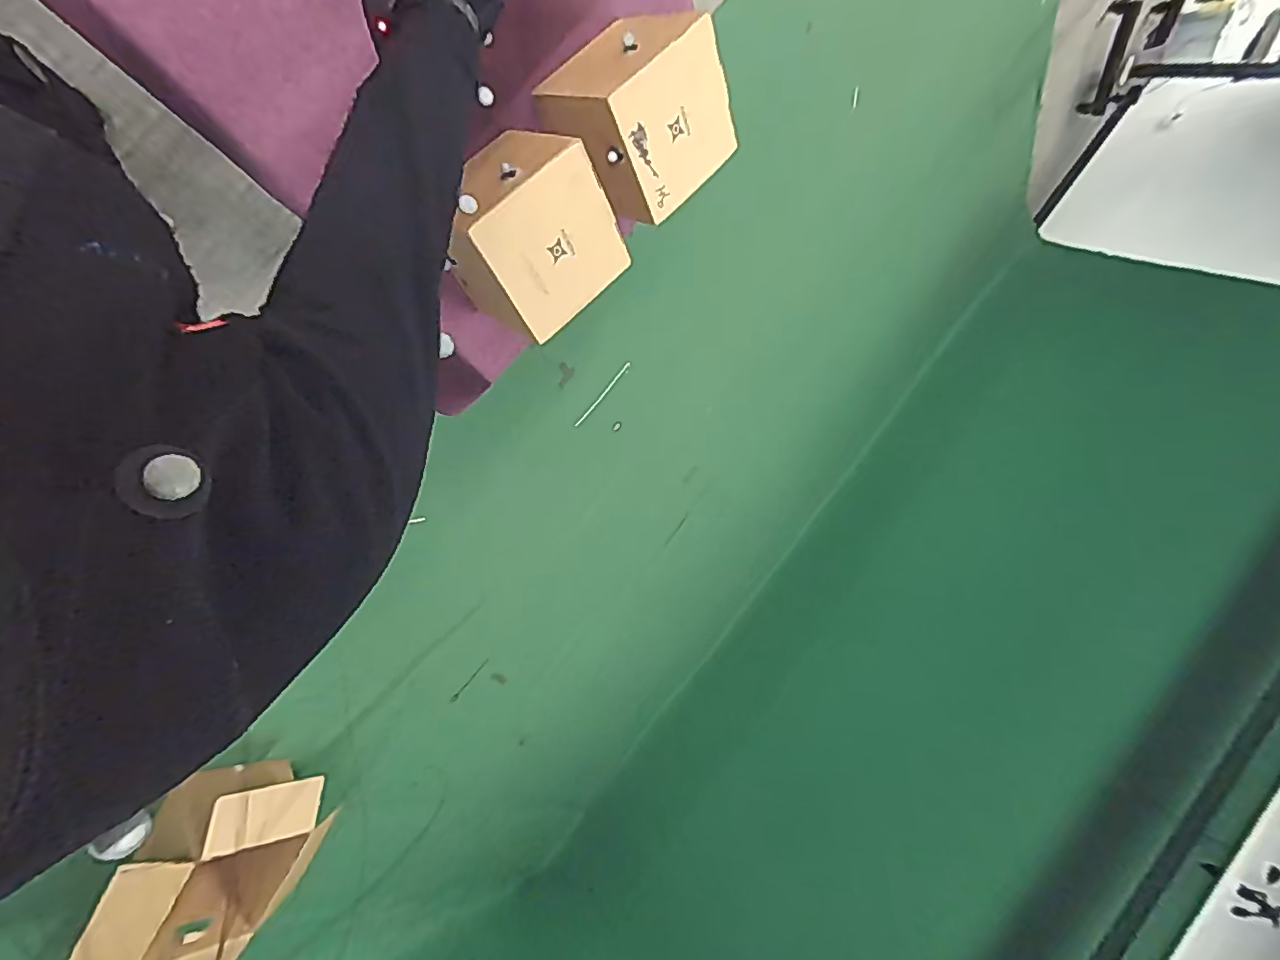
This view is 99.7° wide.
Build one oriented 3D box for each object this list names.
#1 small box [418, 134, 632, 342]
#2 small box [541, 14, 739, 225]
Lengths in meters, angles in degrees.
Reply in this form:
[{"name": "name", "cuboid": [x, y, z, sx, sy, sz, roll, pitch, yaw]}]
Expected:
[{"name": "small box", "cuboid": [-0.146, -0.317, 0.697, 0.179, 0.176, 0.168, -45, 141, -12]}, {"name": "small box", "cuboid": [0.002, -0.482, 0.726, 0.179, 0.176, 0.168, -48, 142, -10]}]
